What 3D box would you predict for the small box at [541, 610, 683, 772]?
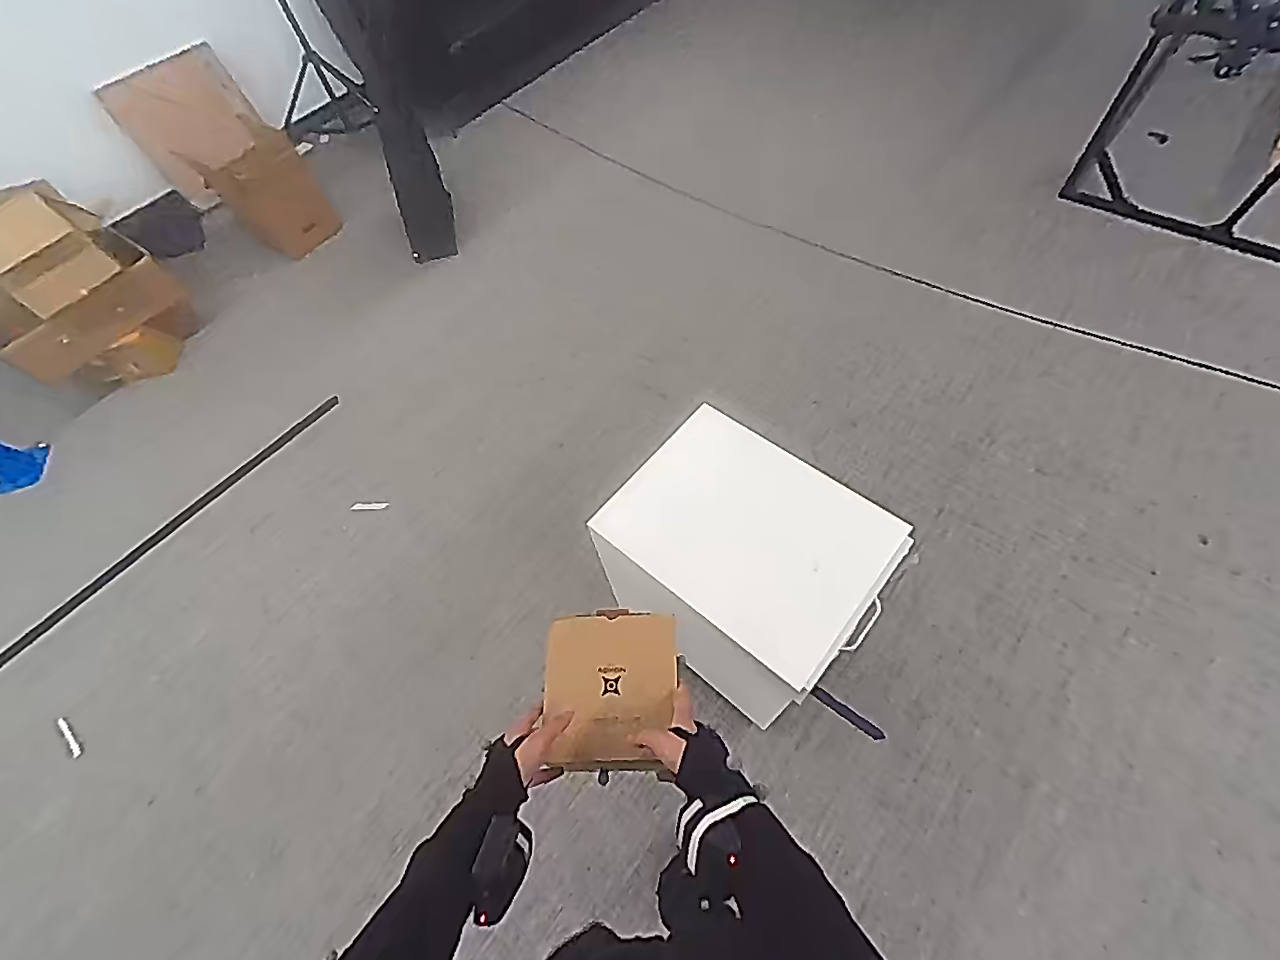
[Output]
[{"bbox_3d":[-0.032,0.288,0.730,0.168,0.176,0.179,-1,58,1],"label":"small box"}]
